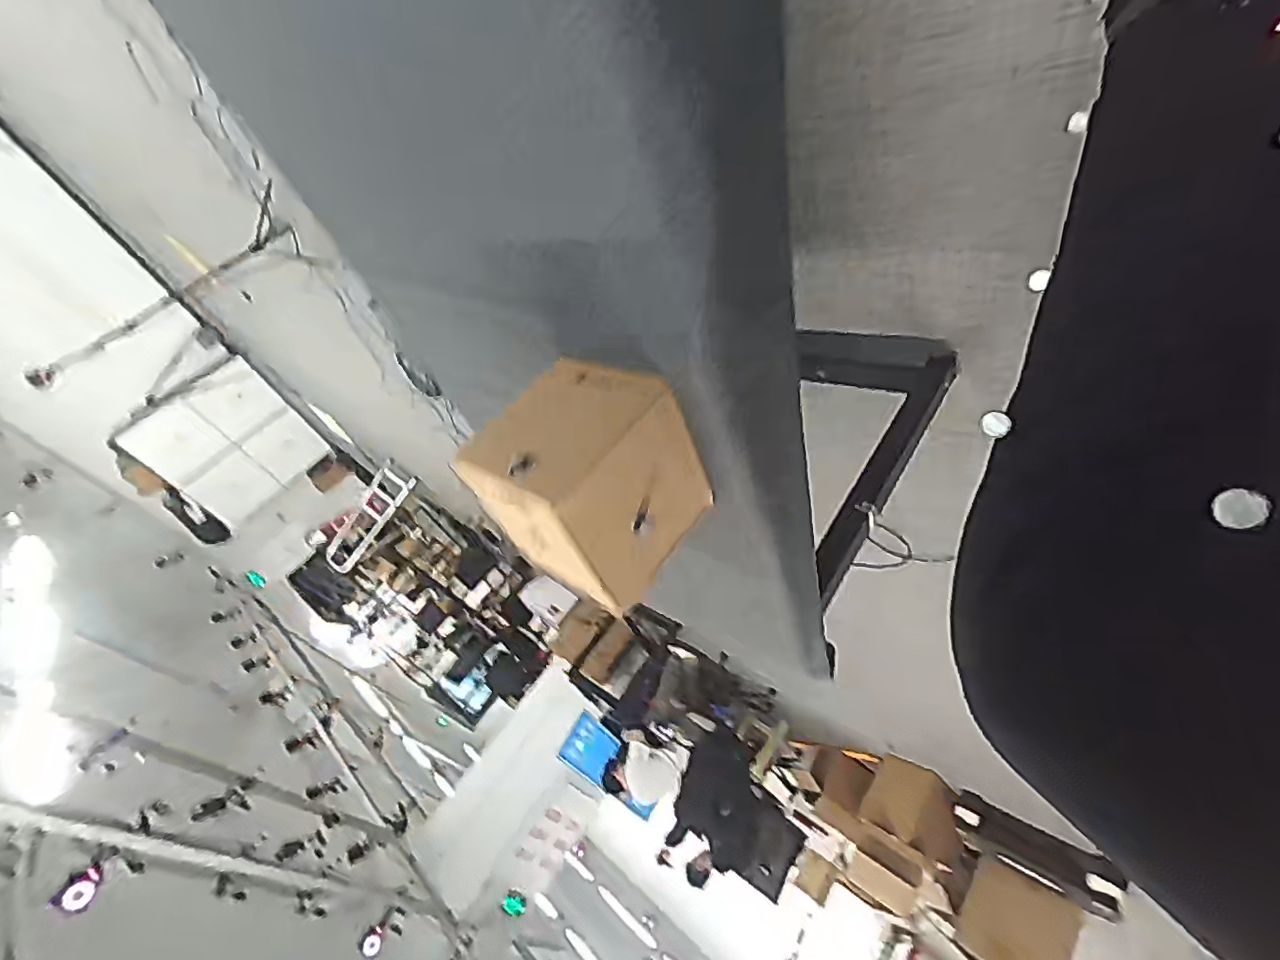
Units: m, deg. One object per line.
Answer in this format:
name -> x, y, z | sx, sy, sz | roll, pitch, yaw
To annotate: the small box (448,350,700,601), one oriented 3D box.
small box -> -0.058, -0.010, 0.577 | 0.168, 0.176, 0.179 | 21, 149, 39
